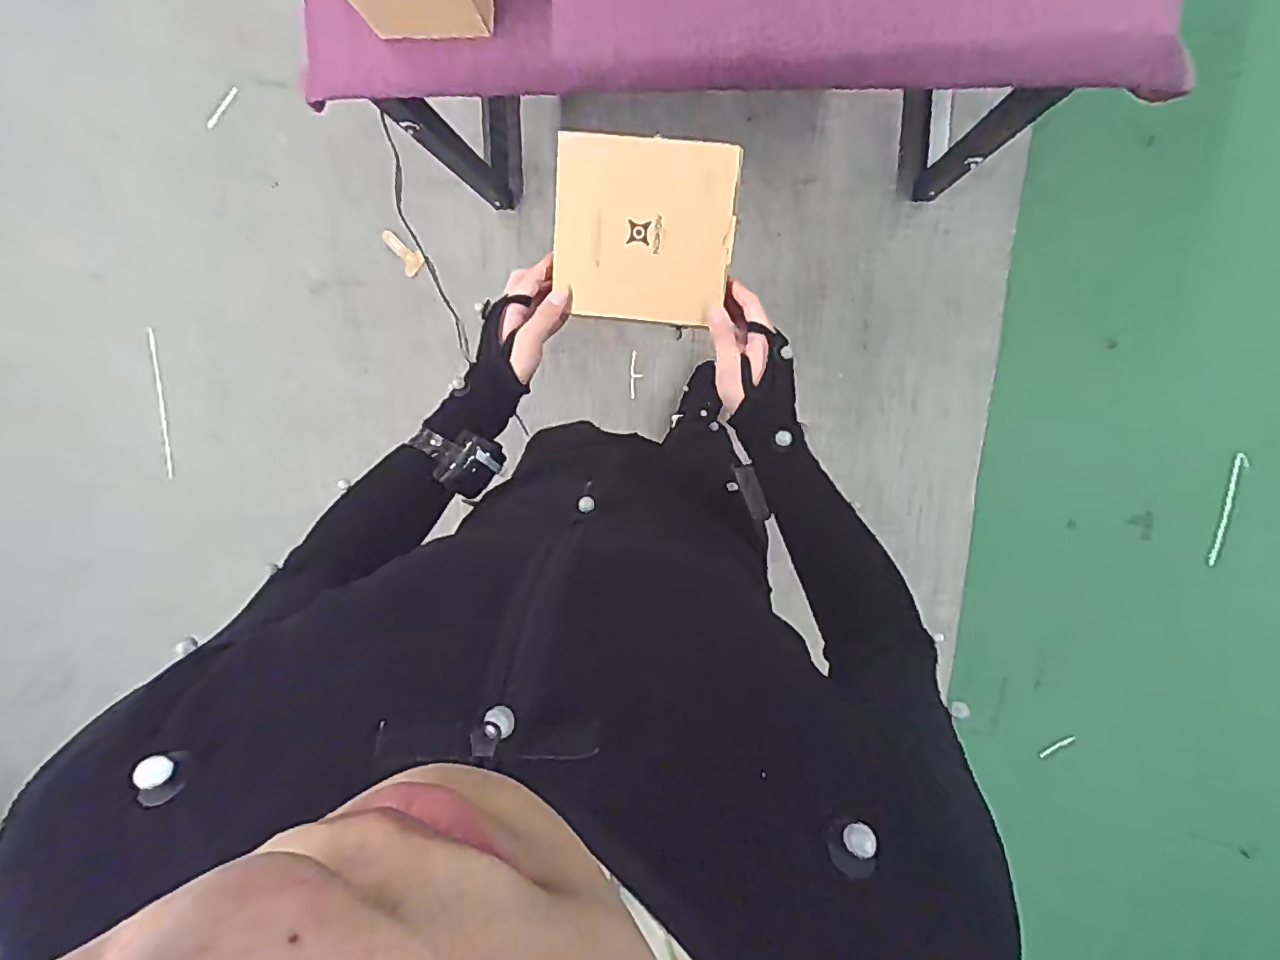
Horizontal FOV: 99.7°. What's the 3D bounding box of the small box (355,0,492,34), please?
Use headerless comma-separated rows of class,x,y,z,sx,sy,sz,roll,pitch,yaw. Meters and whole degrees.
small box,-0.304,-0.715,0.695,0.179,0.176,0.168,3,99,4

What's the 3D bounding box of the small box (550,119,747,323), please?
small box,0.009,-0.266,0.593,0.179,0.176,0.168,7,105,2
